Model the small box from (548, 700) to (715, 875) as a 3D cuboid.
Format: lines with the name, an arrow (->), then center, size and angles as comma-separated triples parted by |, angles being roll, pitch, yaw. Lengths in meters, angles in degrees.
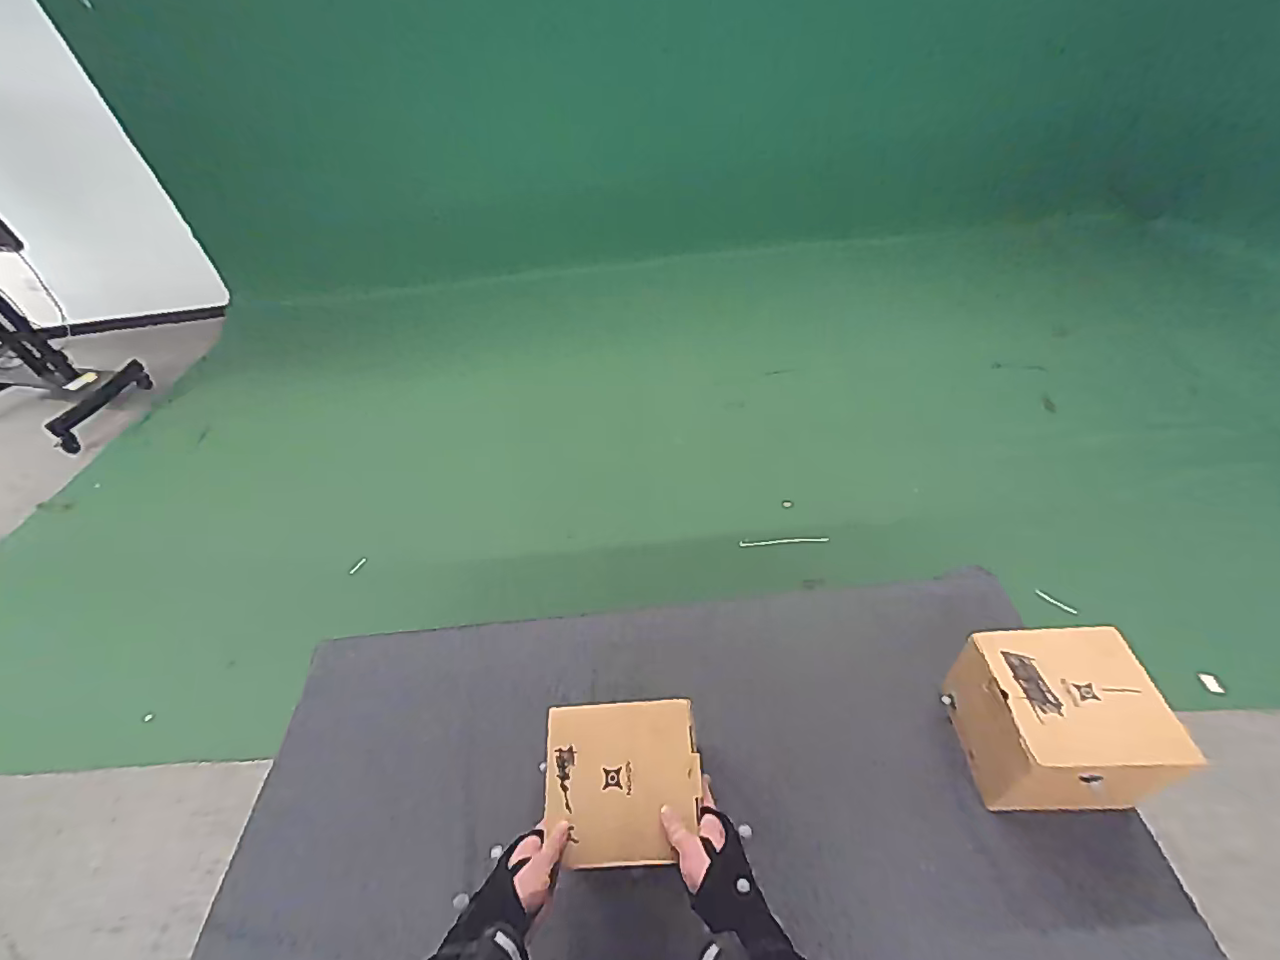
small box -> -0.009, 0.376, 0.667 | 0.179, 0.176, 0.168 | -4, 57, 1

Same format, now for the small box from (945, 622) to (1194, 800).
small box -> 0.528, 0.304, 0.706 | 0.179, 0.176, 0.168 | -3, 44, 2
